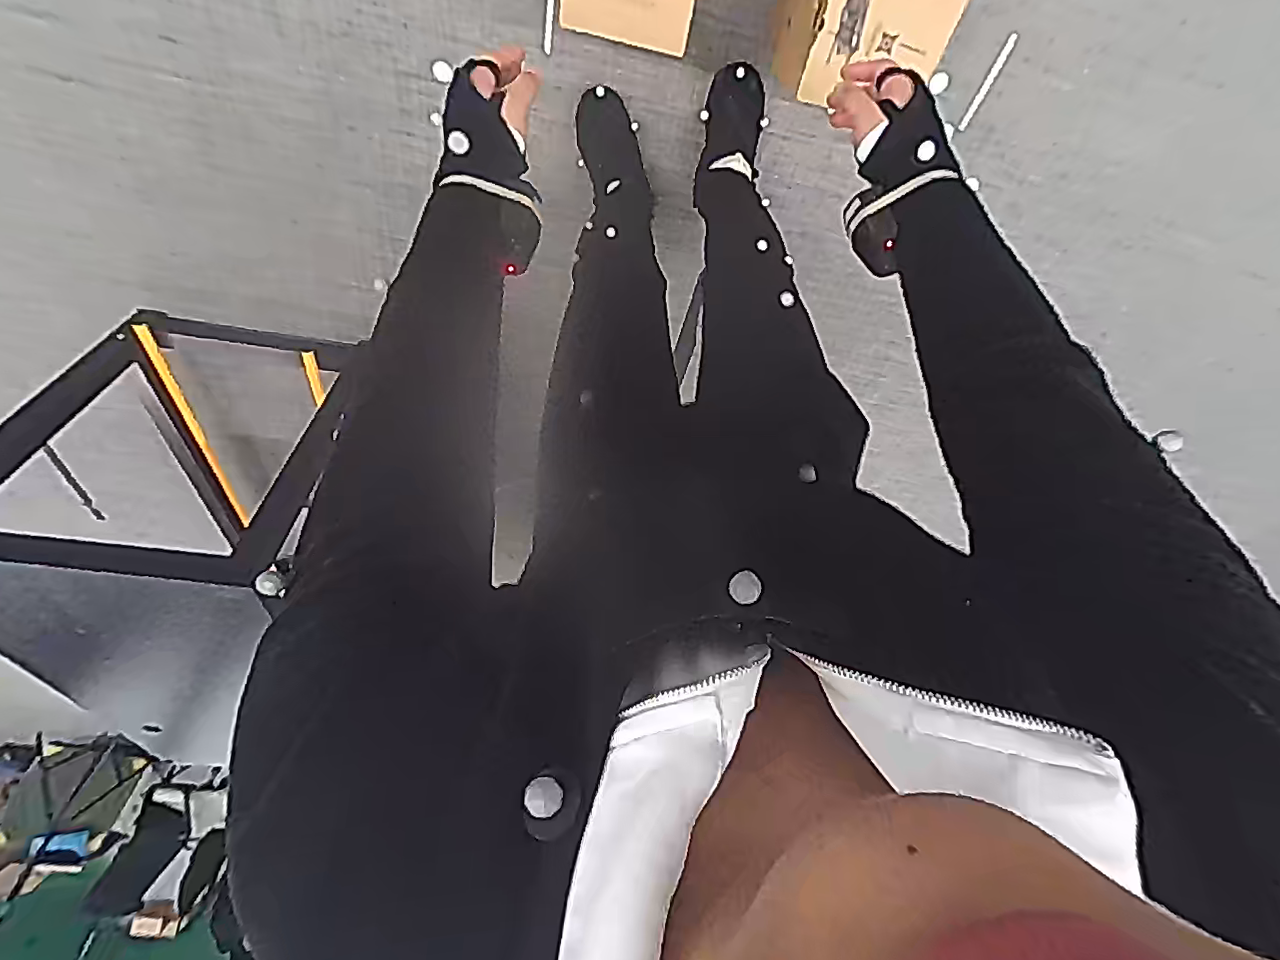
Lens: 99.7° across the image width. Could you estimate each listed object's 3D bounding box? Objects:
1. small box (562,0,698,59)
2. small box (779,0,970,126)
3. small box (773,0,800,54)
[{"bbox_3d":[-0.002,-0.678,0.685,0.168,0.176,0.179,8,139,-7],"label":"small box"},{"bbox_3d":[0.309,-0.623,0.746,0.179,0.176,0.168,7,138,-9],"label":"small box"},{"bbox_3d":[0.321,-0.756,0.844,0.168,0.176,0.179,8,139,-11],"label":"small box"}]
